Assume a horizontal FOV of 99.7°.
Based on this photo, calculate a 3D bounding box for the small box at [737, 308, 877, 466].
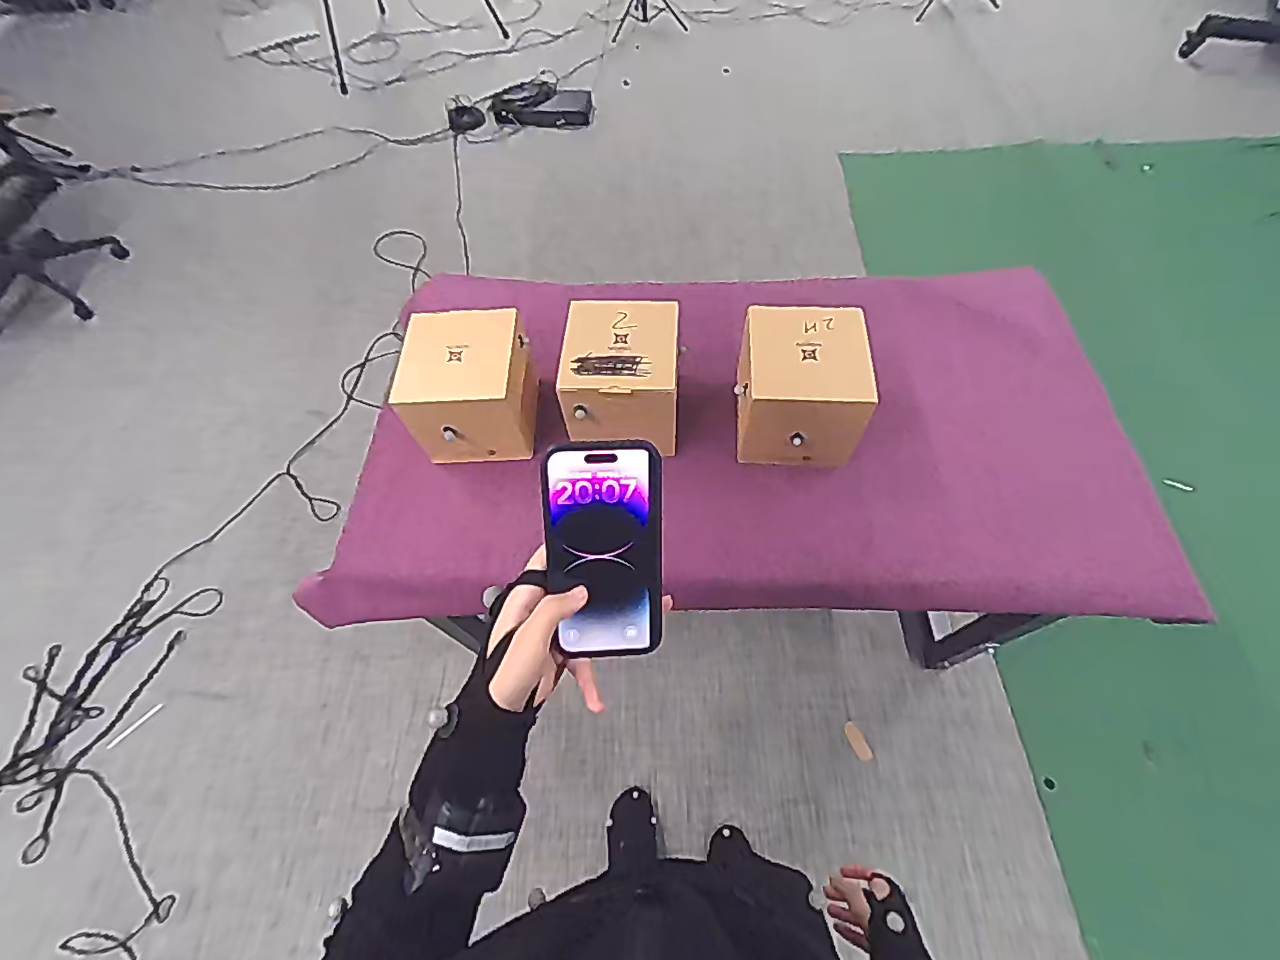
[{"bbox_3d":[0.240,-0.136,0.819,0.168,0.176,0.179,3,60,4],"label":"small box"}]

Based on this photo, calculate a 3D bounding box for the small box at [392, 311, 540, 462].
[{"bbox_3d":[-0.259,-0.138,0.852,0.168,0.176,0.179,-3,59,2],"label":"small box"}]
